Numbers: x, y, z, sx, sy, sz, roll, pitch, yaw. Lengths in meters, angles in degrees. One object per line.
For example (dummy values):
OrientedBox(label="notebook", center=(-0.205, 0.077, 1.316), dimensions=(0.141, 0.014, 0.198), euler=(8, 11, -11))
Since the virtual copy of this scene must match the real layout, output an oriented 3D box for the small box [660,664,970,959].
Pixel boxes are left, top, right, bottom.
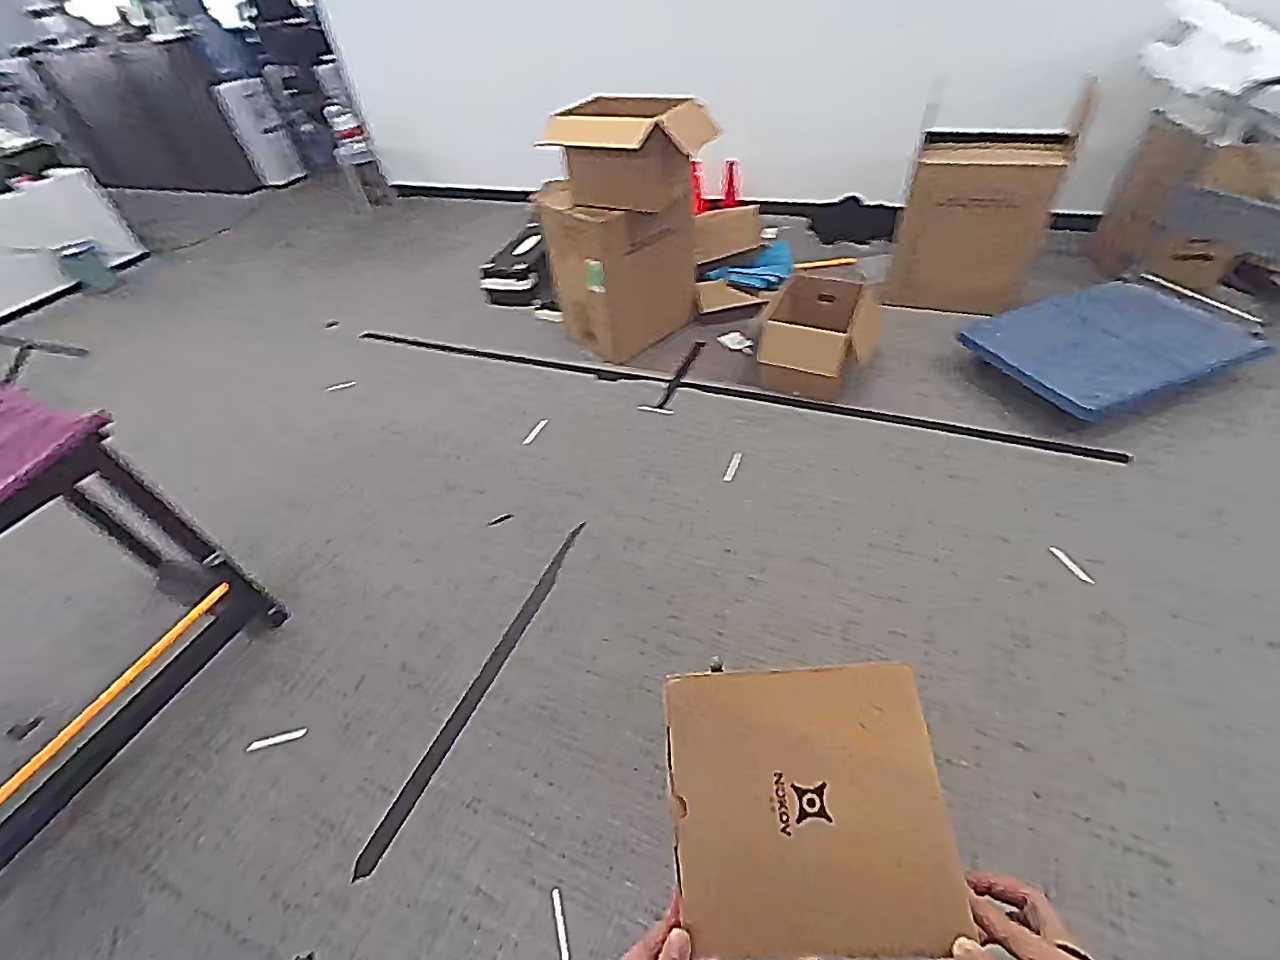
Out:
OrientedBox(label="small box", center=(0.116, 0.240, 0.429), dimensions=(0.179, 0.176, 0.168), euler=(-7, 67, 6))
